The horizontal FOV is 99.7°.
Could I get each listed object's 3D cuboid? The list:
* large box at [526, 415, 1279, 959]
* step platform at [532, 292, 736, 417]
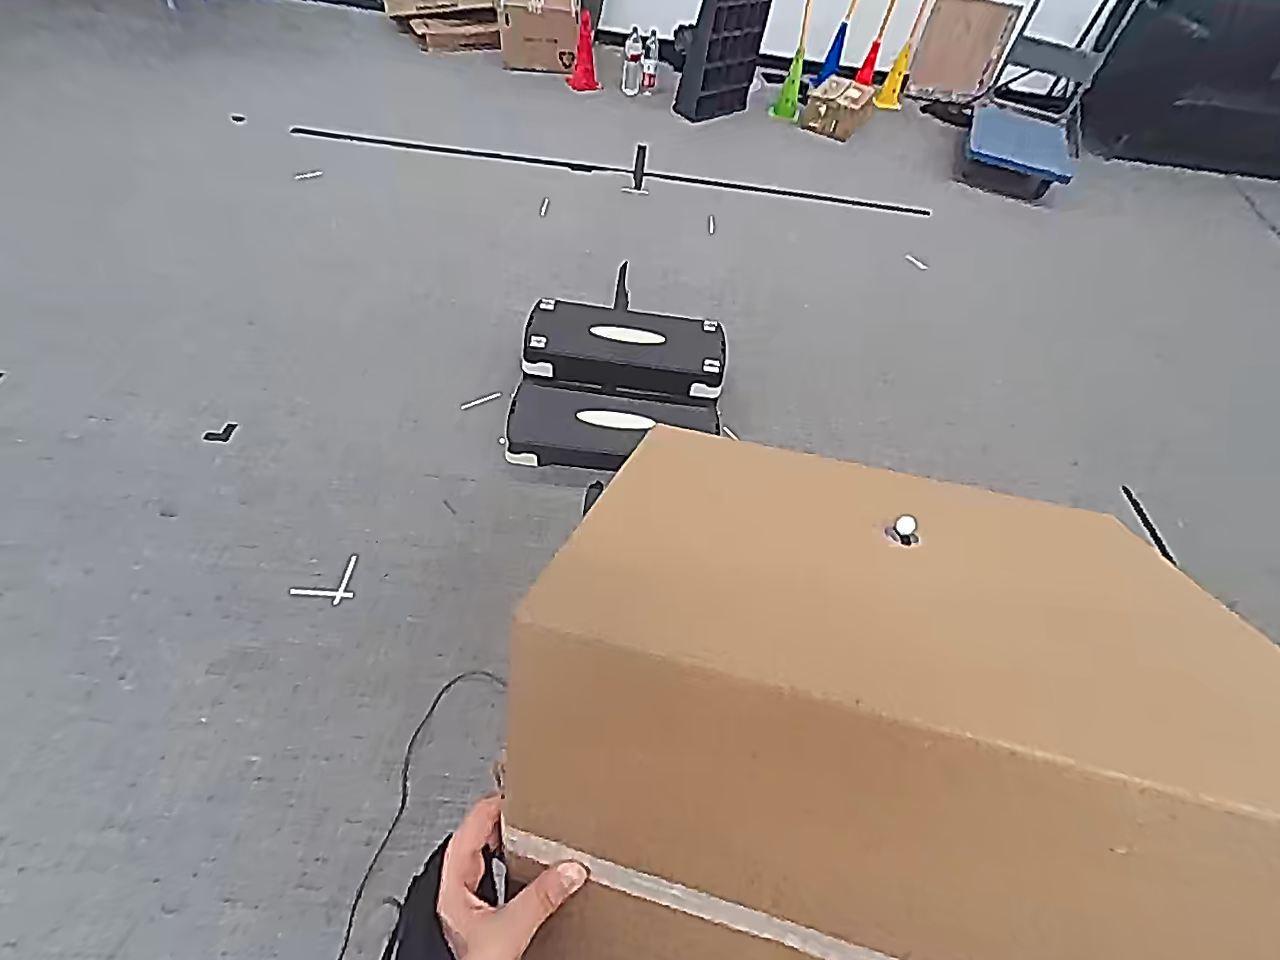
[{"bbox_3d":[0.162,0.161,0.405,0.408,0.320,0.320,11,25,9],"label":"large box"},{"bbox_3d":[-0.017,-0.434,1.856,0.684,0.204,0.286,12,53,0],"label":"step platform"}]
